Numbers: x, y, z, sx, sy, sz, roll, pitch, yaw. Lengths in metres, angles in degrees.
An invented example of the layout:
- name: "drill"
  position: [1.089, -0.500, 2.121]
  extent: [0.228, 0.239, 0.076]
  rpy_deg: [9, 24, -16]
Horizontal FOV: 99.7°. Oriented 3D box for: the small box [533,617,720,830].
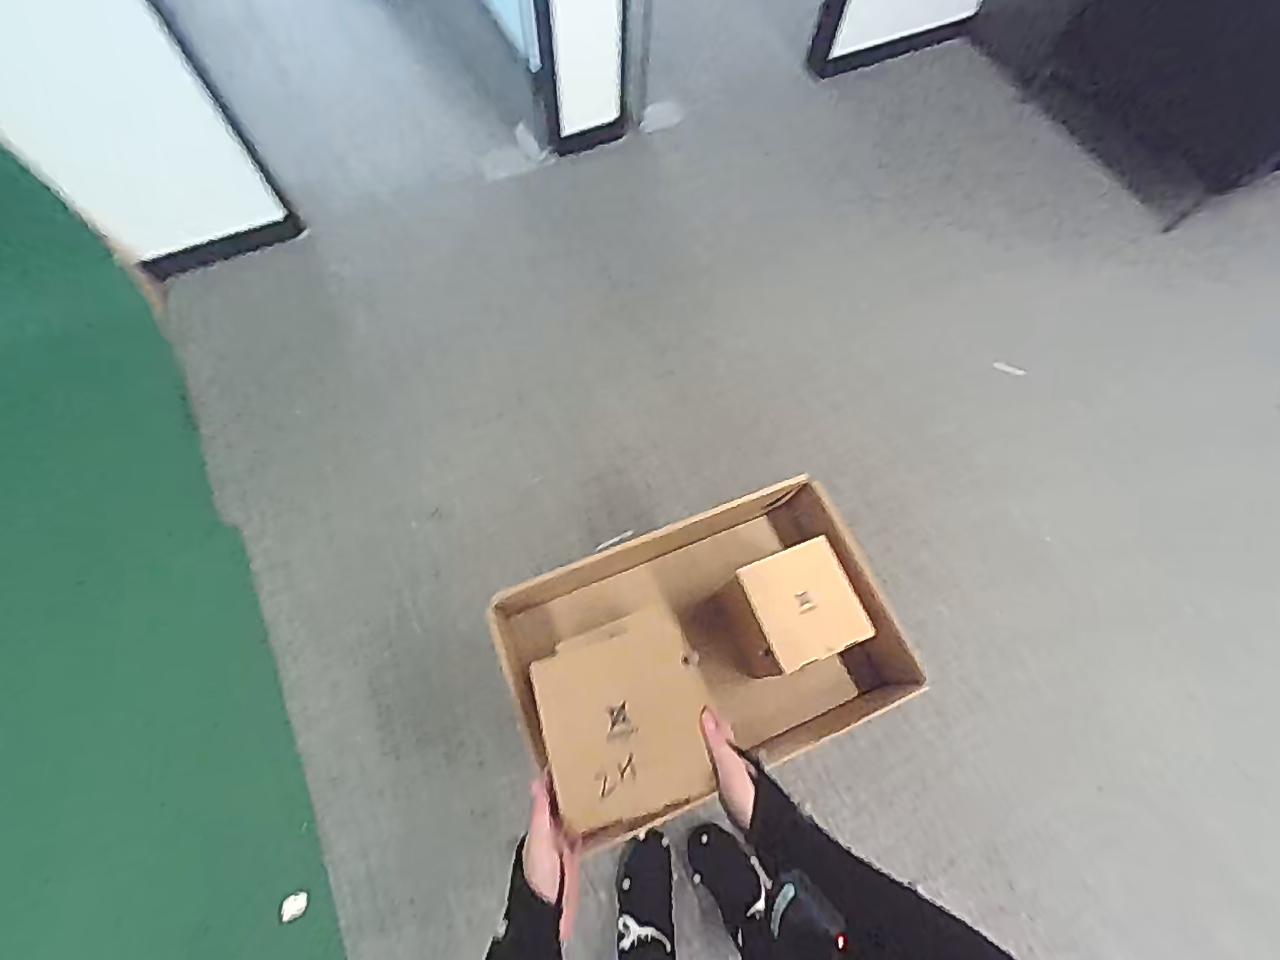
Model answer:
- name: "small box"
  position: [-0.010, 0.278, 0.648]
  extent: [0.168, 0.176, 0.179]
  rpy_deg: [-19, 71, 3]
